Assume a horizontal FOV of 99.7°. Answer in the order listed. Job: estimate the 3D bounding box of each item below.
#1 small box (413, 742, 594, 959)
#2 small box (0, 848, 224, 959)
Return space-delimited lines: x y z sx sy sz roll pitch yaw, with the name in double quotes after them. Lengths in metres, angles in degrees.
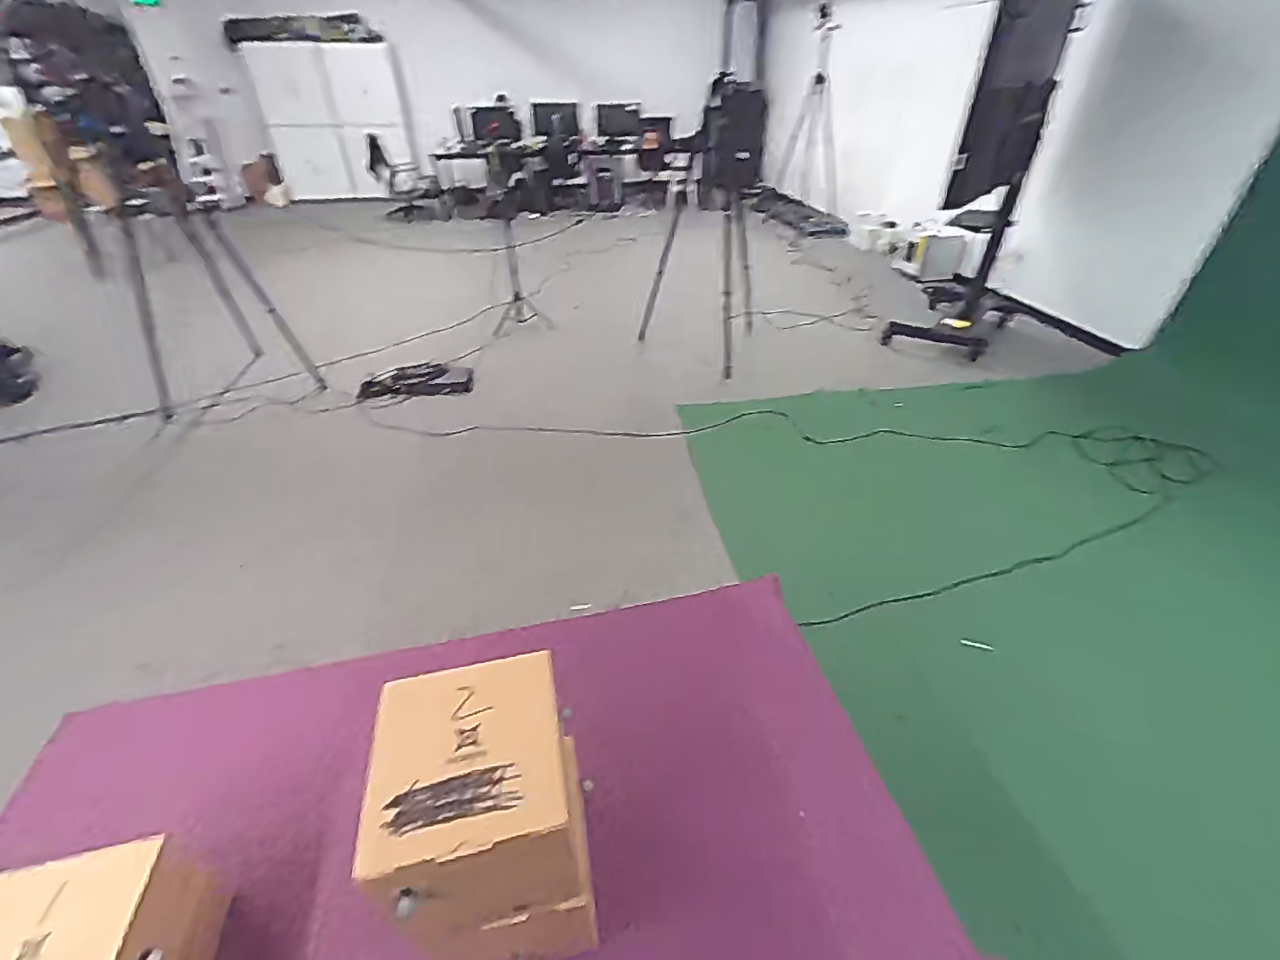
-0.148 0.445 0.631 0.168 0.176 0.179 -8 37 -8 "small box"
-0.567 0.518 0.543 0.168 0.176 0.179 -9 37 -11 "small box"
